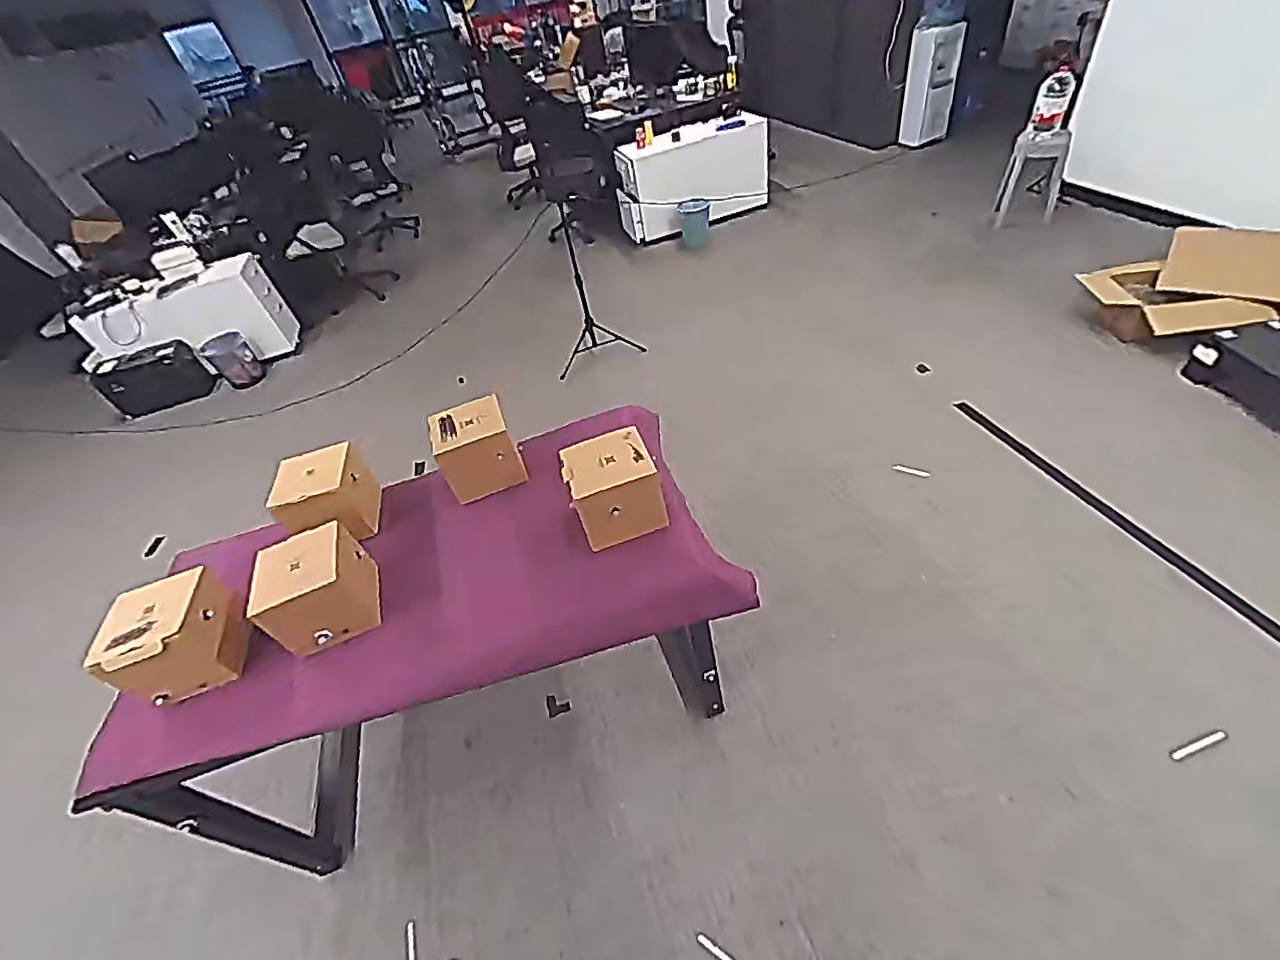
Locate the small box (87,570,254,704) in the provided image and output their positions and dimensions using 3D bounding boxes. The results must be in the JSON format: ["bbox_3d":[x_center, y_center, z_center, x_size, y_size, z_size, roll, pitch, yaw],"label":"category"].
[{"bbox_3d":[-0.912,0.317,1.074,0.168,0.176,0.179,-20,43,-8],"label":"small box"}]

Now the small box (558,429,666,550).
[{"bbox_3d":[-0.058,0.025,1.161,0.179,0.176,0.168,-20,44,-4],"label":"small box"}]

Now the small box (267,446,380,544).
[{"bbox_3d":[-0.749,0.051,1.304,0.168,0.176,0.179,-17,44,-5],"label":"small box"}]

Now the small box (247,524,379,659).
[{"bbox_3d":[-0.655,0.228,1.105,0.168,0.176,0.179,-23,44,-9],"label":"small box"}]
